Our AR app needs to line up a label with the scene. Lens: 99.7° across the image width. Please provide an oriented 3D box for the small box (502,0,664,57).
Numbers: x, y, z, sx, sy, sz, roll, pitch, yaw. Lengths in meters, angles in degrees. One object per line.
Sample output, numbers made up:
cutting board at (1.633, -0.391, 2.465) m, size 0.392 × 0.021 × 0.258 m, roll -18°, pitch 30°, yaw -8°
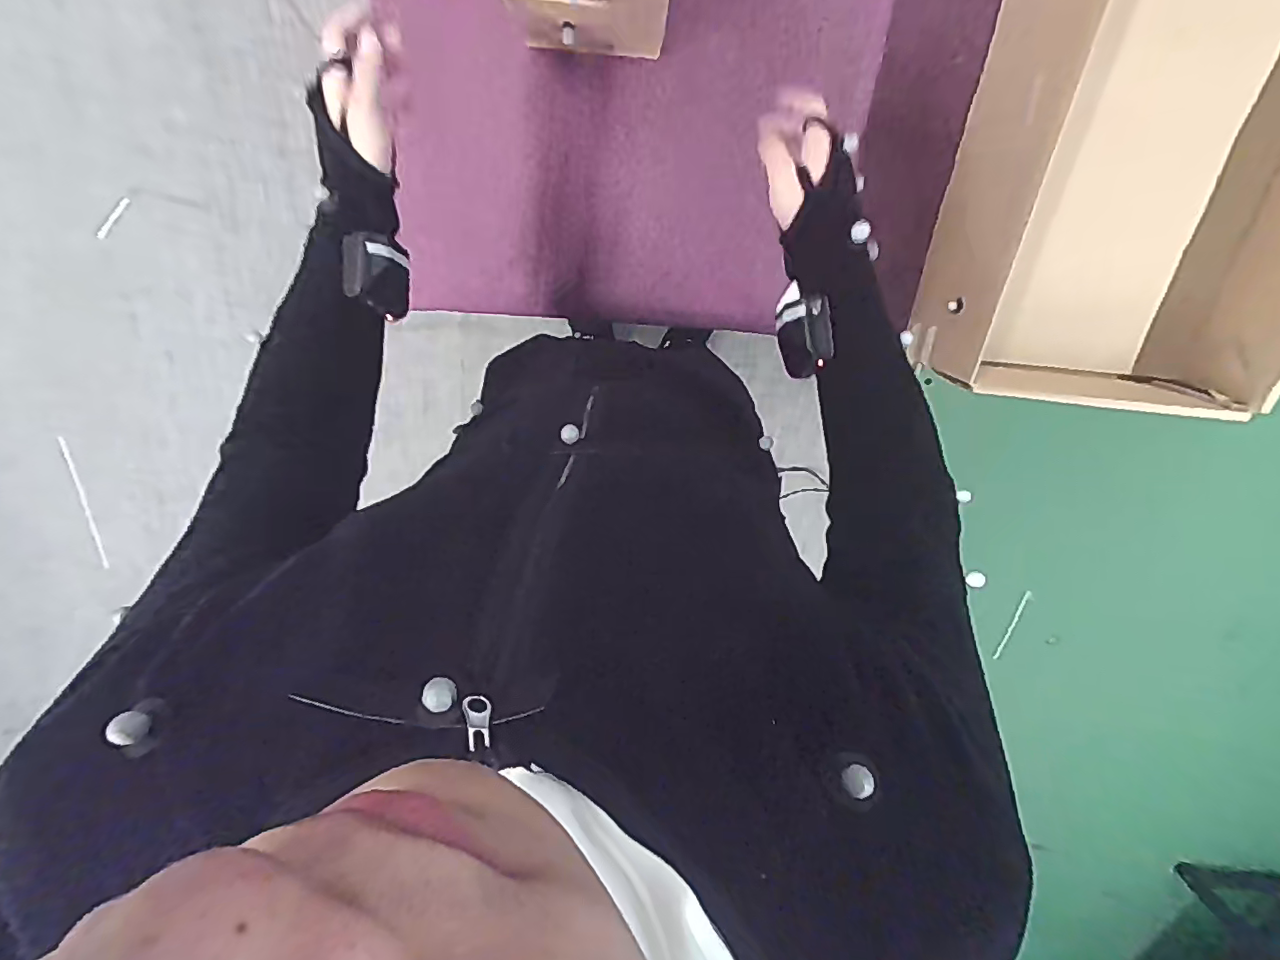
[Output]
small box at (-0.050, -0.577, 0.567) m, size 0.168 × 0.176 × 0.179 m, roll 4°, pitch 113°, yaw -3°

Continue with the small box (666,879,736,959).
small box at (0.193, 1.435, 1.740) m, size 0.168 × 0.176 × 0.179 m, roll -24°, pitch 111°, yaw 8°
